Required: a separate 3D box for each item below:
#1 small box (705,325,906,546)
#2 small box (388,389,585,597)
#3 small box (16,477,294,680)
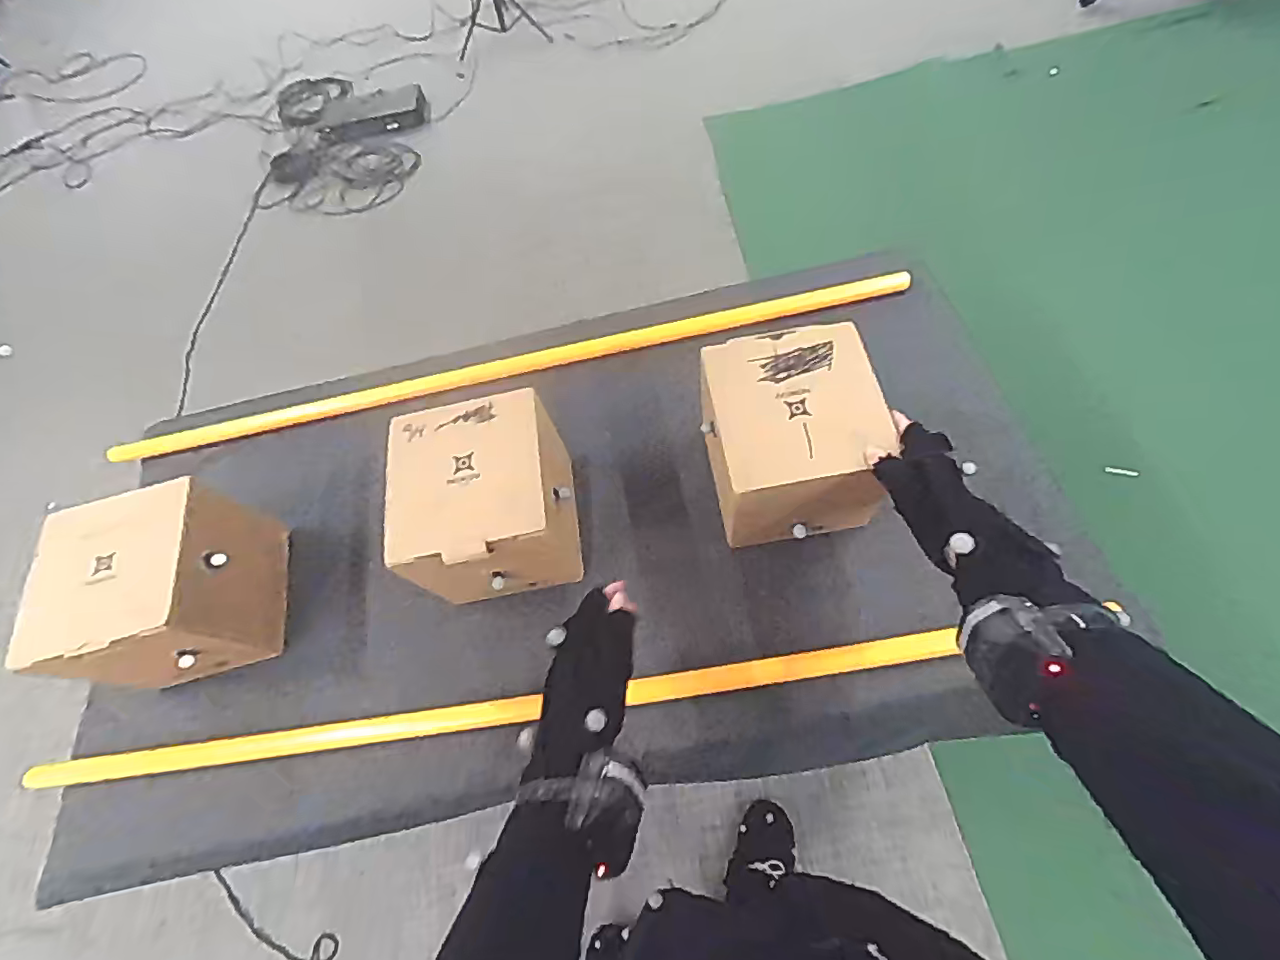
[{"bbox_3d":[0.168,-0.042,0.614,0.168,0.176,0.179,-10,64,4],"label":"small box"},{"bbox_3d":[-0.171,0.028,0.634,0.168,0.176,0.179,-15,62,3],"label":"small box"},{"bbox_3d":[-0.544,0.127,0.639,0.168,0.176,0.179,-15,61,-1],"label":"small box"}]
